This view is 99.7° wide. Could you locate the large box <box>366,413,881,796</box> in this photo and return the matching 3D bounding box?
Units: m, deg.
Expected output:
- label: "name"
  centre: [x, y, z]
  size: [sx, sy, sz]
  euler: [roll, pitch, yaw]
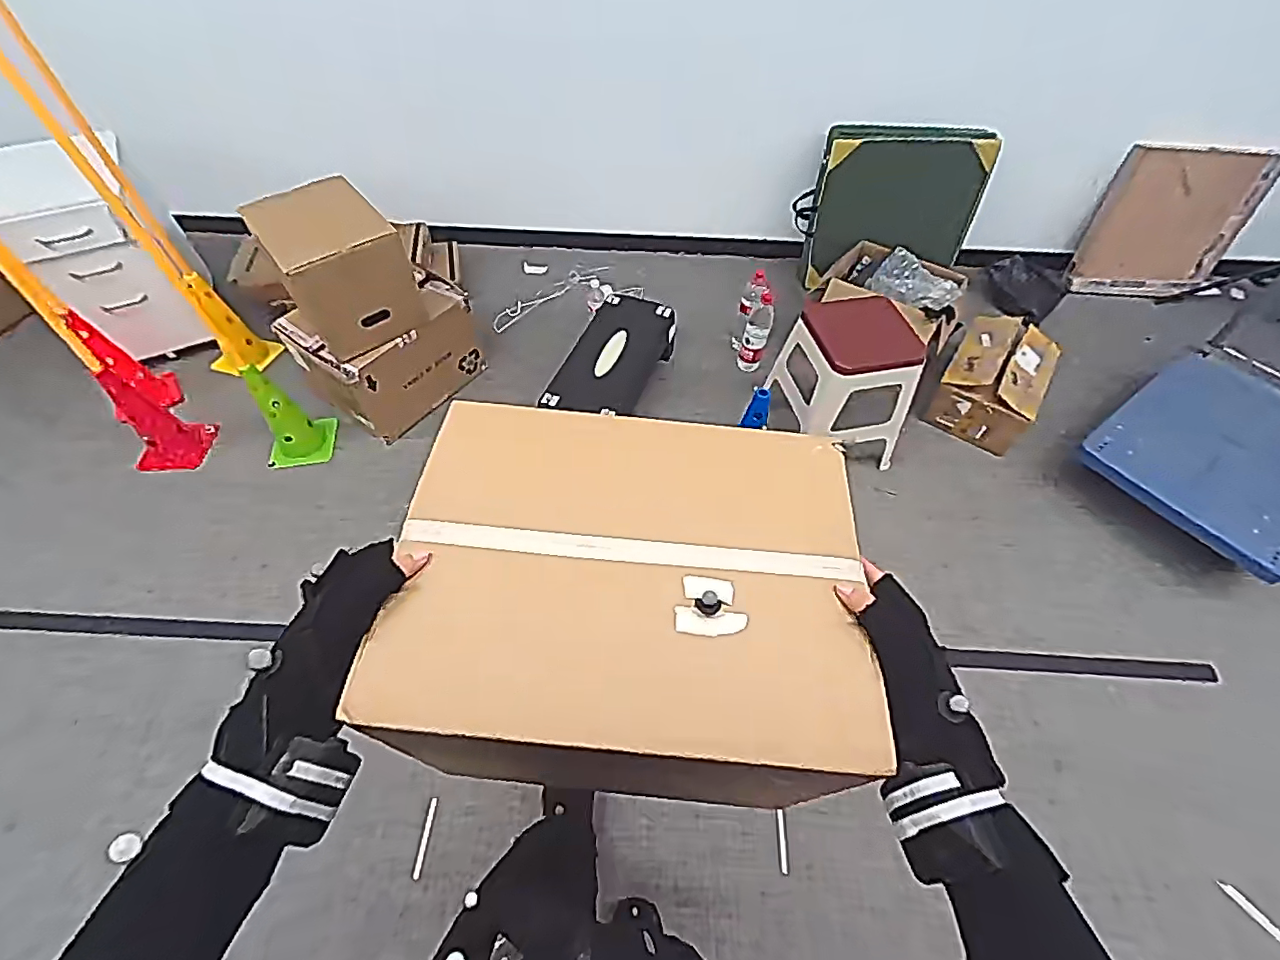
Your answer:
- label: "large box"
  centre: [-0.011, 0.153, 0.615]
  size: [0.408, 0.320, 0.320]
  euler: [6, 55, 0]
